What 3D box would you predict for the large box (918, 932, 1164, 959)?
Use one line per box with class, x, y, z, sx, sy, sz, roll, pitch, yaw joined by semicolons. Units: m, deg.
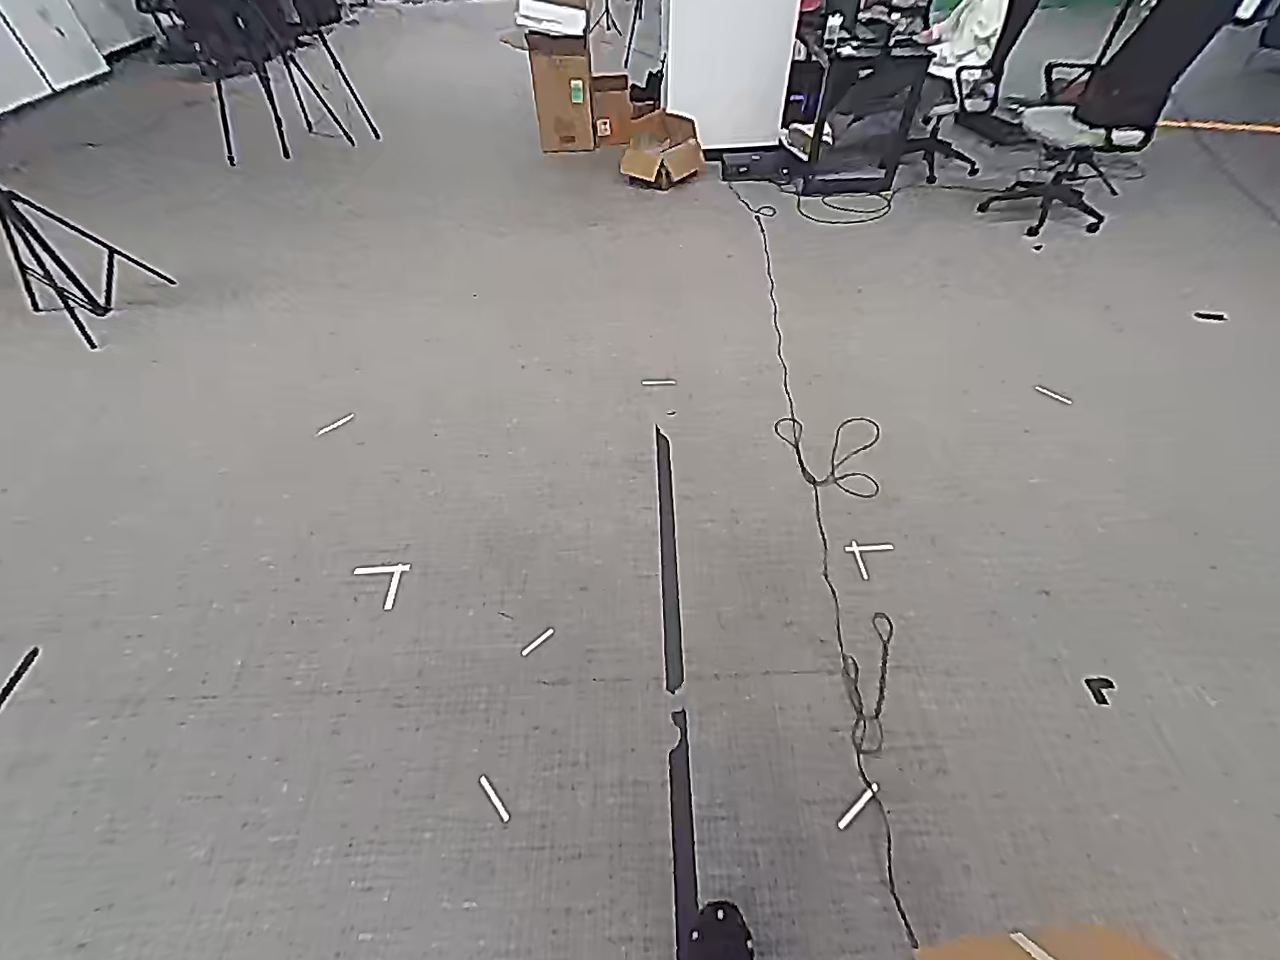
large box;0.565;0.765;0.562;0.320;0.408;0.320;-7;73;0
